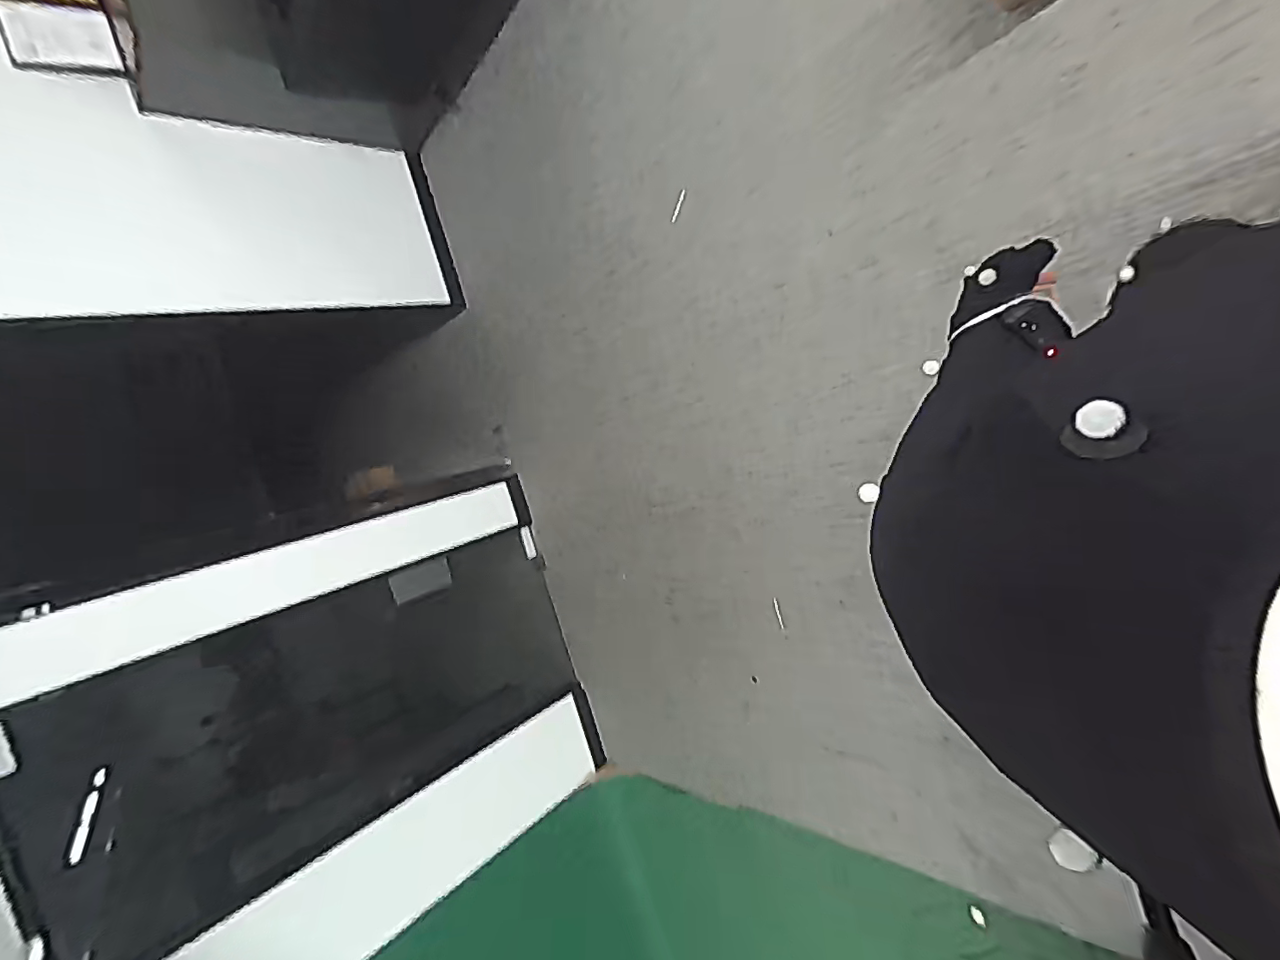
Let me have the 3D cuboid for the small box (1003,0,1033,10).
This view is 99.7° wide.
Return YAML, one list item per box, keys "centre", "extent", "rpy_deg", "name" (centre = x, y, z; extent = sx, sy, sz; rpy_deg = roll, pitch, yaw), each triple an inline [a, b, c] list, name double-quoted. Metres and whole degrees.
- centre: [0.729, -1.017, 0.979]
  extent: [0.168, 0.176, 0.179]
  rpy_deg: [-7, 100, 49]
  name: "small box"
